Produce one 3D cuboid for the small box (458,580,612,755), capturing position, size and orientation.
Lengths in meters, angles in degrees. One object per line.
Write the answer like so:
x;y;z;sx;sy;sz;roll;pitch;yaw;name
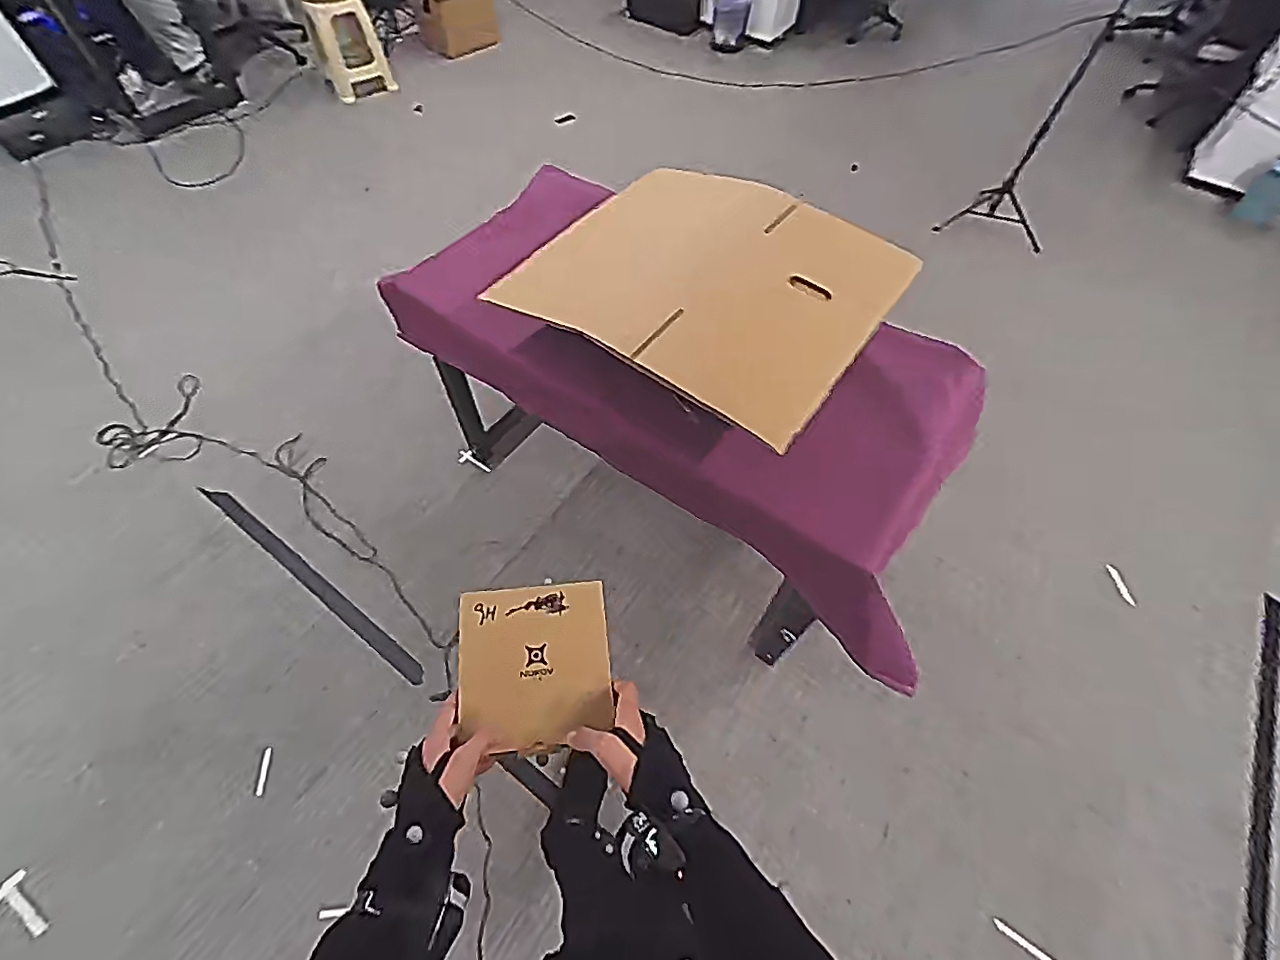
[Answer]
-0.126;0.236;0.678;0.168;0.176;0.179;-3;65;-9;small box
